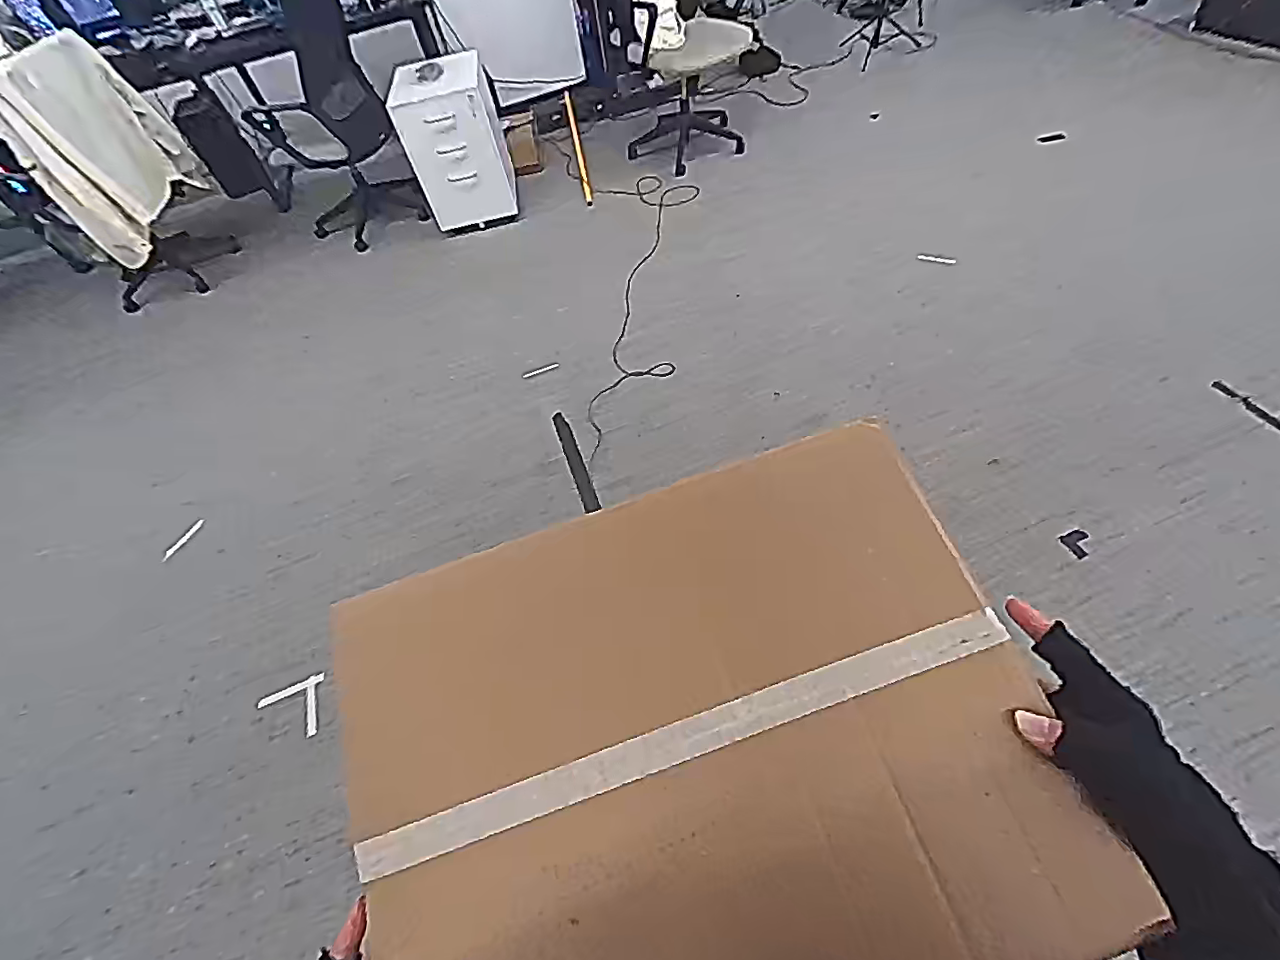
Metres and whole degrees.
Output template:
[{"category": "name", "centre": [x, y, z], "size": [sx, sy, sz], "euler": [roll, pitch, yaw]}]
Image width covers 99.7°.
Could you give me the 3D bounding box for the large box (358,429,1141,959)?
[{"category": "large box", "centre": [0.046, 0.217, 0.471], "size": [0.408, 0.320, 0.320], "euler": [-20, 68, -2]}]
